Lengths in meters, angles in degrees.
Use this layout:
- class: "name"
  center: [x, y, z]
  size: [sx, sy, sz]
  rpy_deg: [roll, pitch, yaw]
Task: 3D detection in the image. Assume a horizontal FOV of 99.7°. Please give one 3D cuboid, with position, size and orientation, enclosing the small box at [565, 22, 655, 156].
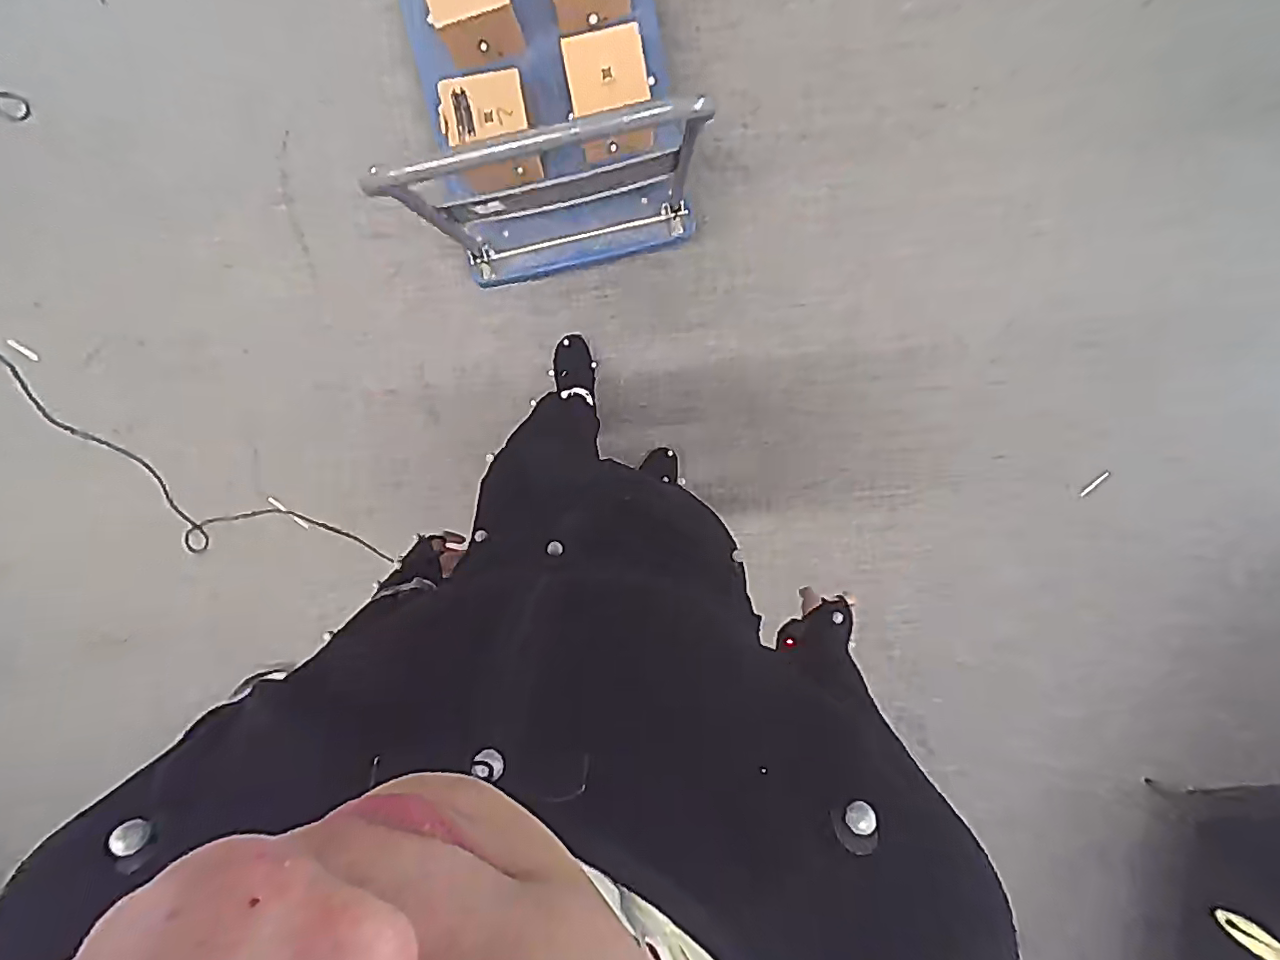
- class: "small box"
  center: [-0.065, -0.872, 1.221]
  size: [0.168, 0.176, 0.179]
  rpy_deg: [-11, 100, 3]

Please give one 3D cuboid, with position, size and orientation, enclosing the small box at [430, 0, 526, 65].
- class: "small box"
  center: [-0.365, -1.062, 1.193]
  size: [0.168, 0.176, 0.179]
  rpy_deg: [-16, 99, 3]

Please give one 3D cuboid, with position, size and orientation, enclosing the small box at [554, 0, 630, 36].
- class: "small box"
  center: [-0.123, -1.132, 1.176]
  size: [0.168, 0.176, 0.179]
  rpy_deg: [-15, 100, 5]
